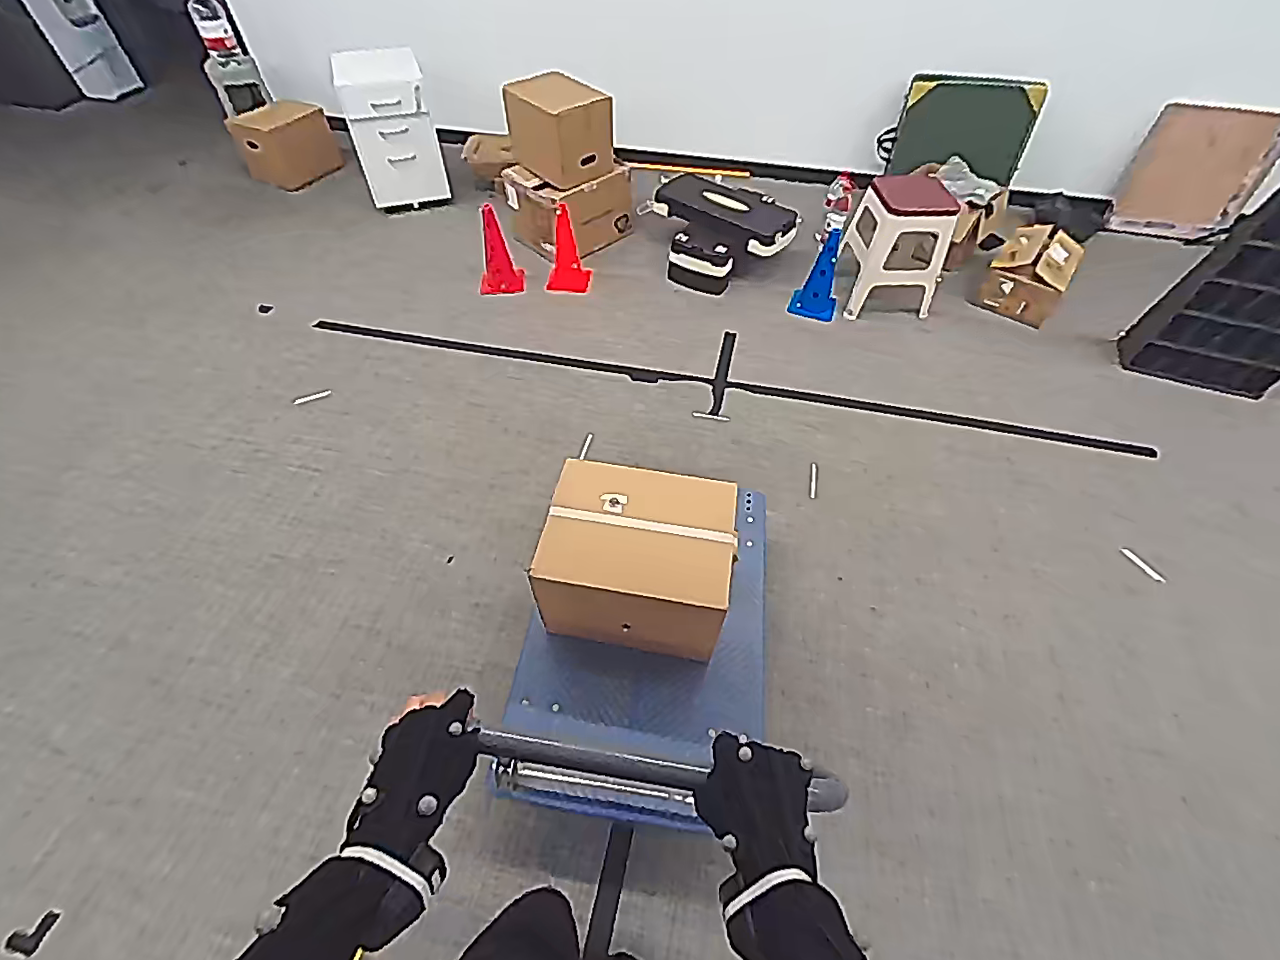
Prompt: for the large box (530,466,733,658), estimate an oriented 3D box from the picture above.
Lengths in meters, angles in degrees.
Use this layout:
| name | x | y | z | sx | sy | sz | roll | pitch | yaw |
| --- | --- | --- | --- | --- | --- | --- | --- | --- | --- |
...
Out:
| name | x | y | z | sx | sy | sz | roll | pitch | yaw |
| --- | --- | --- | --- | --- | --- | --- | --- | --- | --- |
| large box | -0.004 | 0.201 | 1.288 | 0.408 | 0.320 | 0.320 | 9 | 54 | 6 |
